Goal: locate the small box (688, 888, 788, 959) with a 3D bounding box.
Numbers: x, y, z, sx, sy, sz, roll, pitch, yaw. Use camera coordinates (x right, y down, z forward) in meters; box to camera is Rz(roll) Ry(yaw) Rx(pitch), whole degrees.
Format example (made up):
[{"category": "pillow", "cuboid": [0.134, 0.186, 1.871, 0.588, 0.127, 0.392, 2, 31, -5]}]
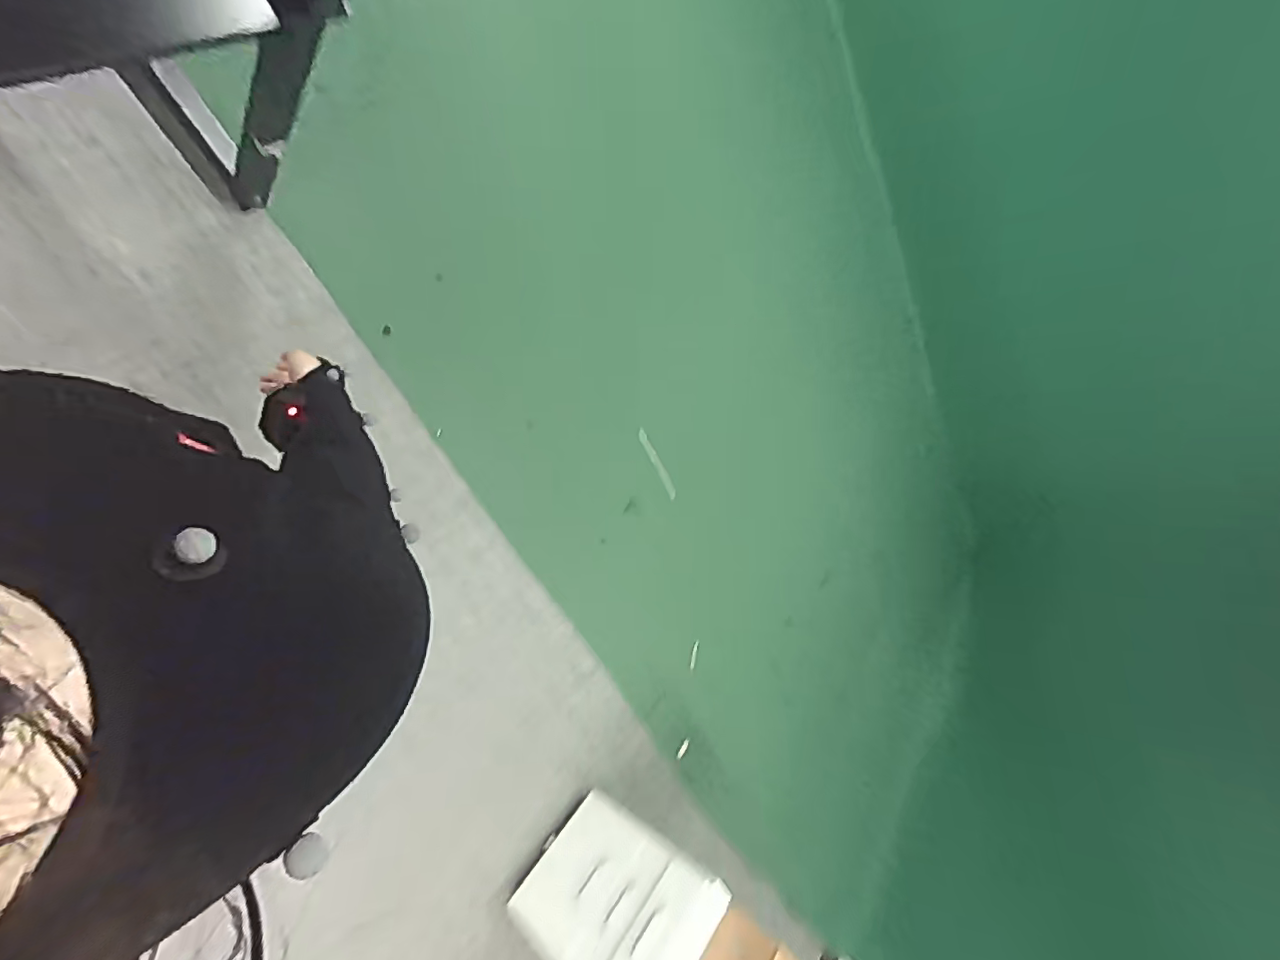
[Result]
[{"category": "small box", "cuboid": [0.258, 1.243, 1.432, 0.179, 0.176, 0.168, -44, 119, -30]}]
